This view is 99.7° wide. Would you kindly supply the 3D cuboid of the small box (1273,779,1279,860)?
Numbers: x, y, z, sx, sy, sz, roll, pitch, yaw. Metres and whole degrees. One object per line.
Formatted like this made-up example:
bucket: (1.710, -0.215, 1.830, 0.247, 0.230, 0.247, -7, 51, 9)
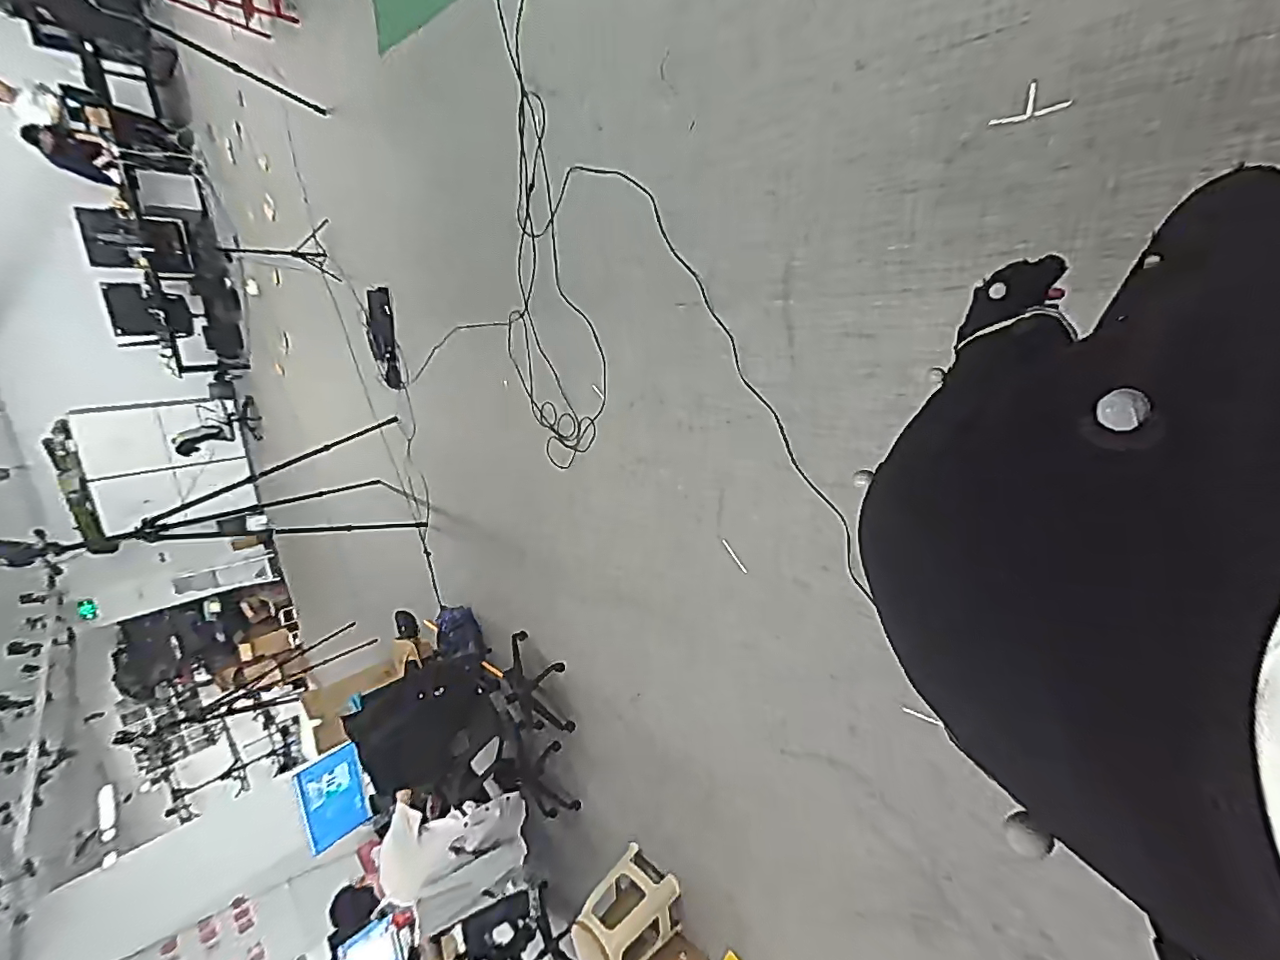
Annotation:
small box: (1.298, 0.624, 0.978, 0.168, 0.176, 0.179, 17, 115, 41)
